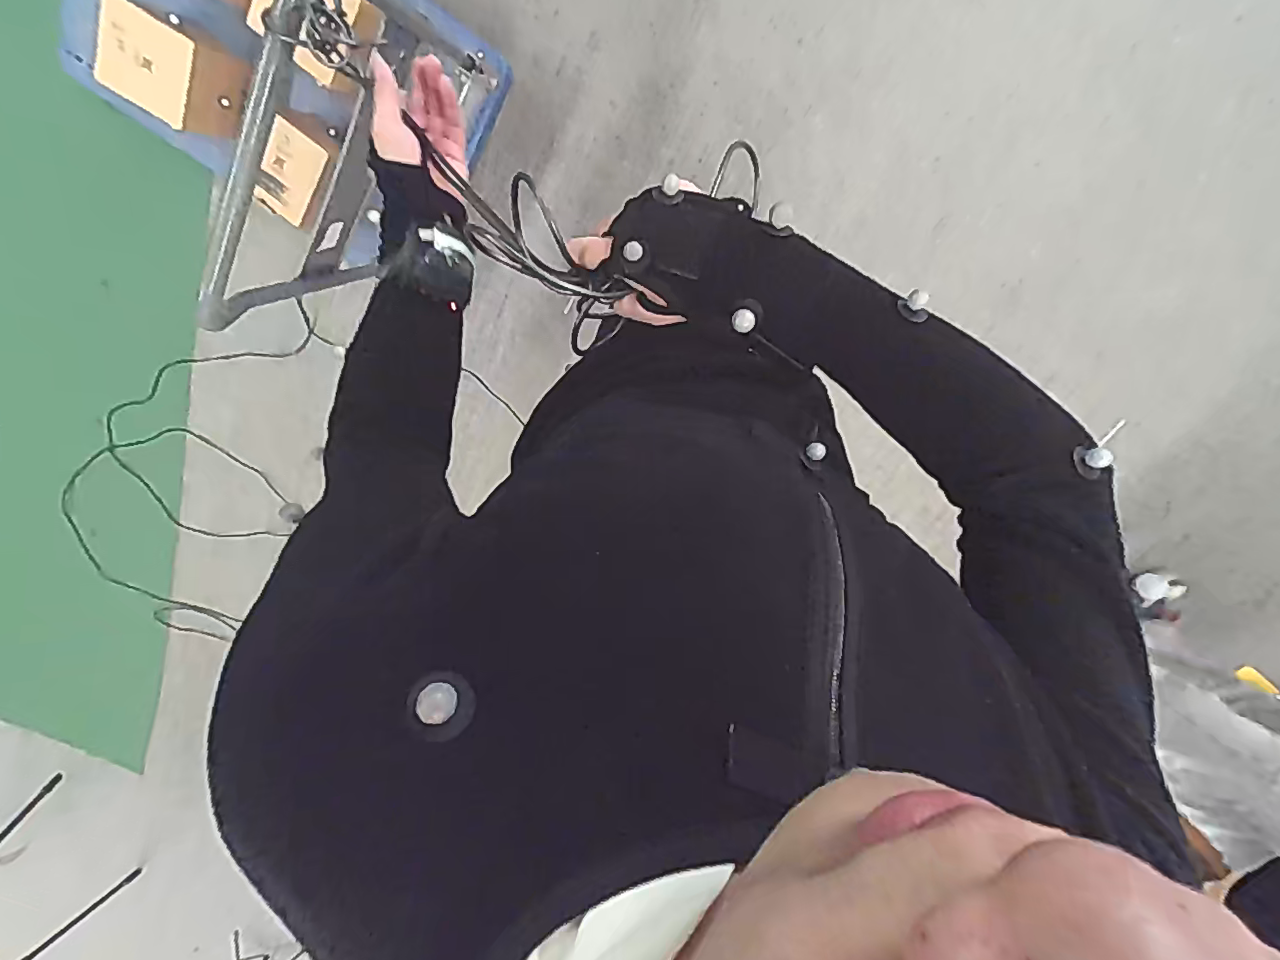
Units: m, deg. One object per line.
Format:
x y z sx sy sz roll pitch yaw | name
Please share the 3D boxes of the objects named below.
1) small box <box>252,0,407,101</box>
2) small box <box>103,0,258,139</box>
-0.602 -0.891 1.066 0.179 0.176 0.168 35 115 -11 | small box
-0.945 -0.842 1.125 0.179 0.176 0.168 30 115 -9 | small box
